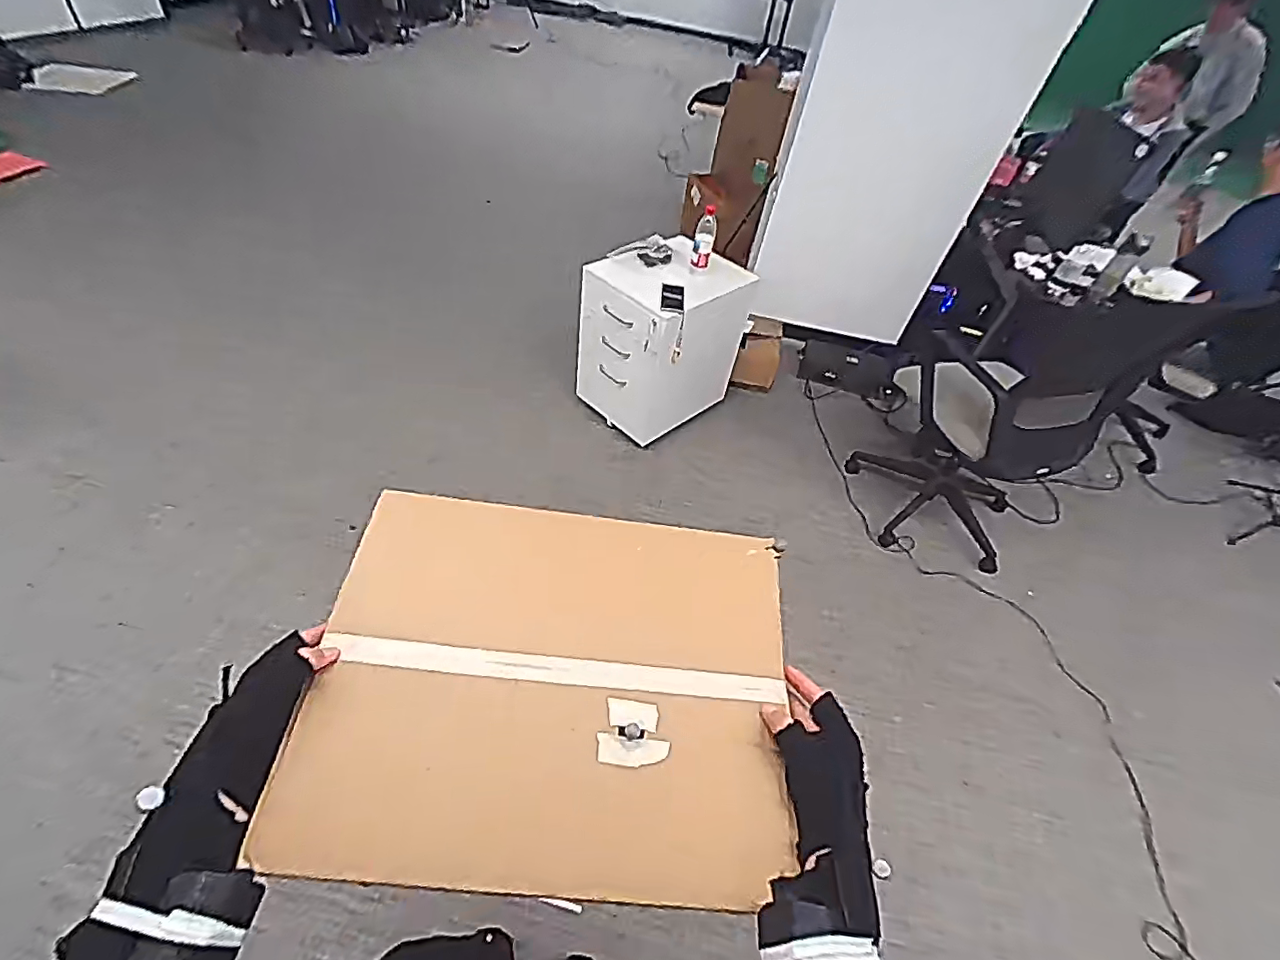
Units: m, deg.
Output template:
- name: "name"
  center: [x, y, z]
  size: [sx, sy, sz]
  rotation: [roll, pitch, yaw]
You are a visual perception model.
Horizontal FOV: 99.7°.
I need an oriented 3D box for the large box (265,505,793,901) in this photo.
- name: "large box"
  center: [-0.089, 0.255, 0.608]
  size: [0.408, 0.320, 0.320]
  rotation: [8, 57, -4]
